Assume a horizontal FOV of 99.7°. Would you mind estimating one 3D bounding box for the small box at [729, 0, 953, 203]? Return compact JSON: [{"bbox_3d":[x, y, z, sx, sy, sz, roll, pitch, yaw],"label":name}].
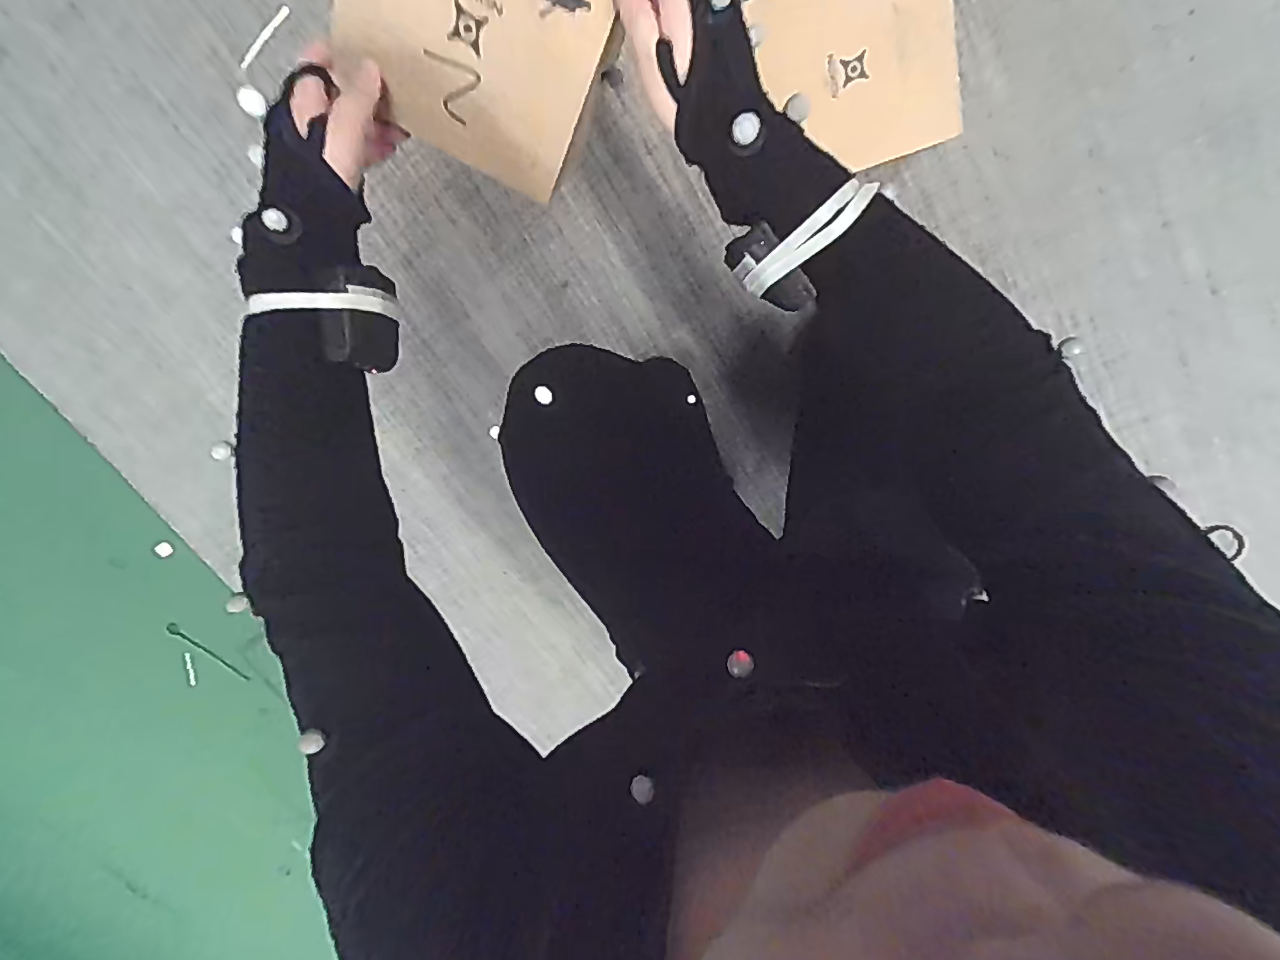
[{"bbox_3d":[0.199,-0.403,0.564,0.179,0.176,0.168,-12,112,16],"label":"small box"}]
